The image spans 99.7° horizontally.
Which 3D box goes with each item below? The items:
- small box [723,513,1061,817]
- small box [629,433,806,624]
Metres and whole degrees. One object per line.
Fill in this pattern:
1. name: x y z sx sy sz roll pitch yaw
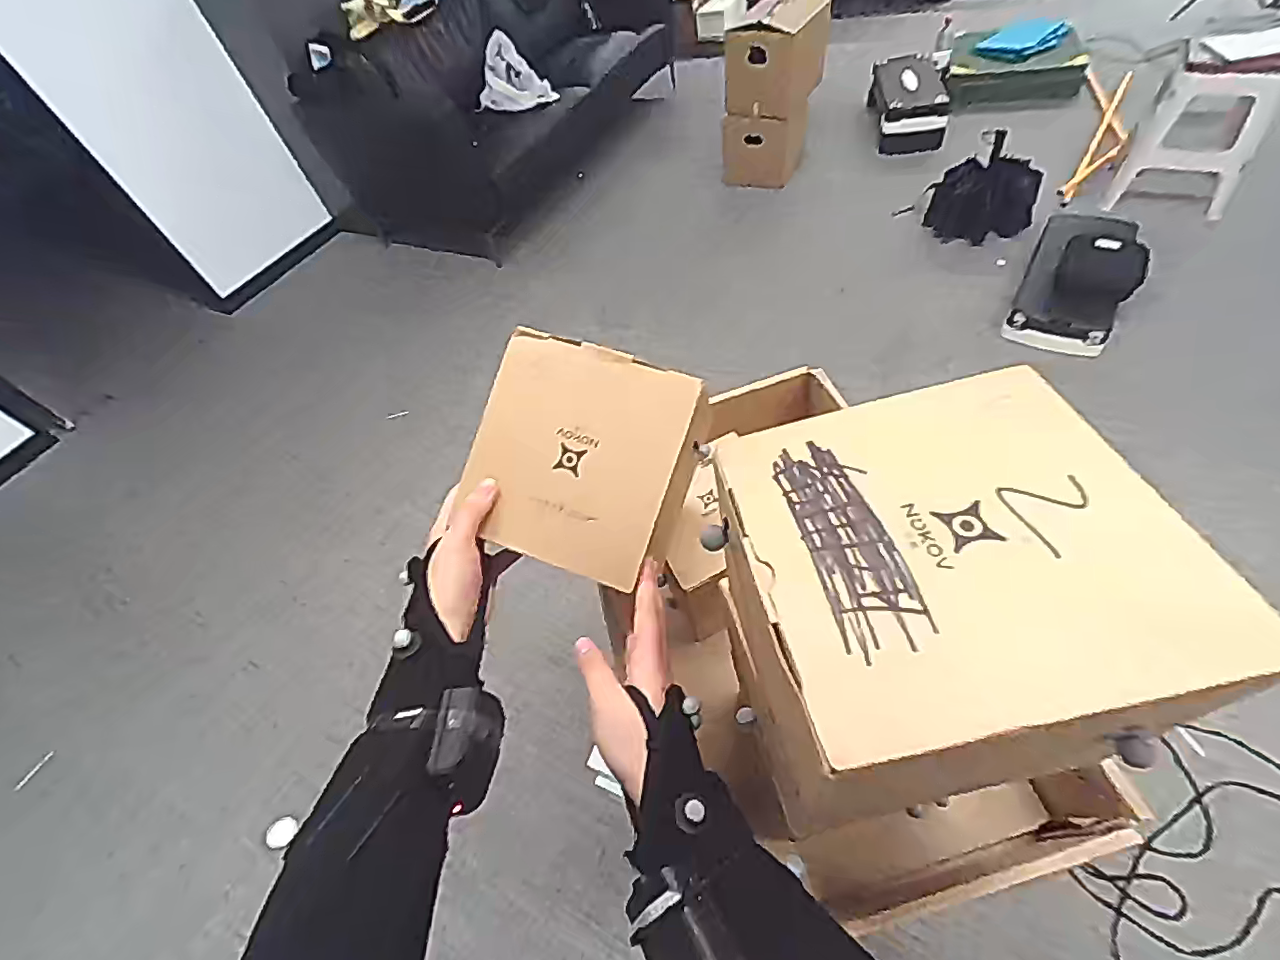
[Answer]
1. small box: 0.180 0.158 0.448 0.179 0.176 0.168 -17 50 2
2. small box: 0.105 0.075 0.736 0.168 0.176 0.179 -25 54 -6
